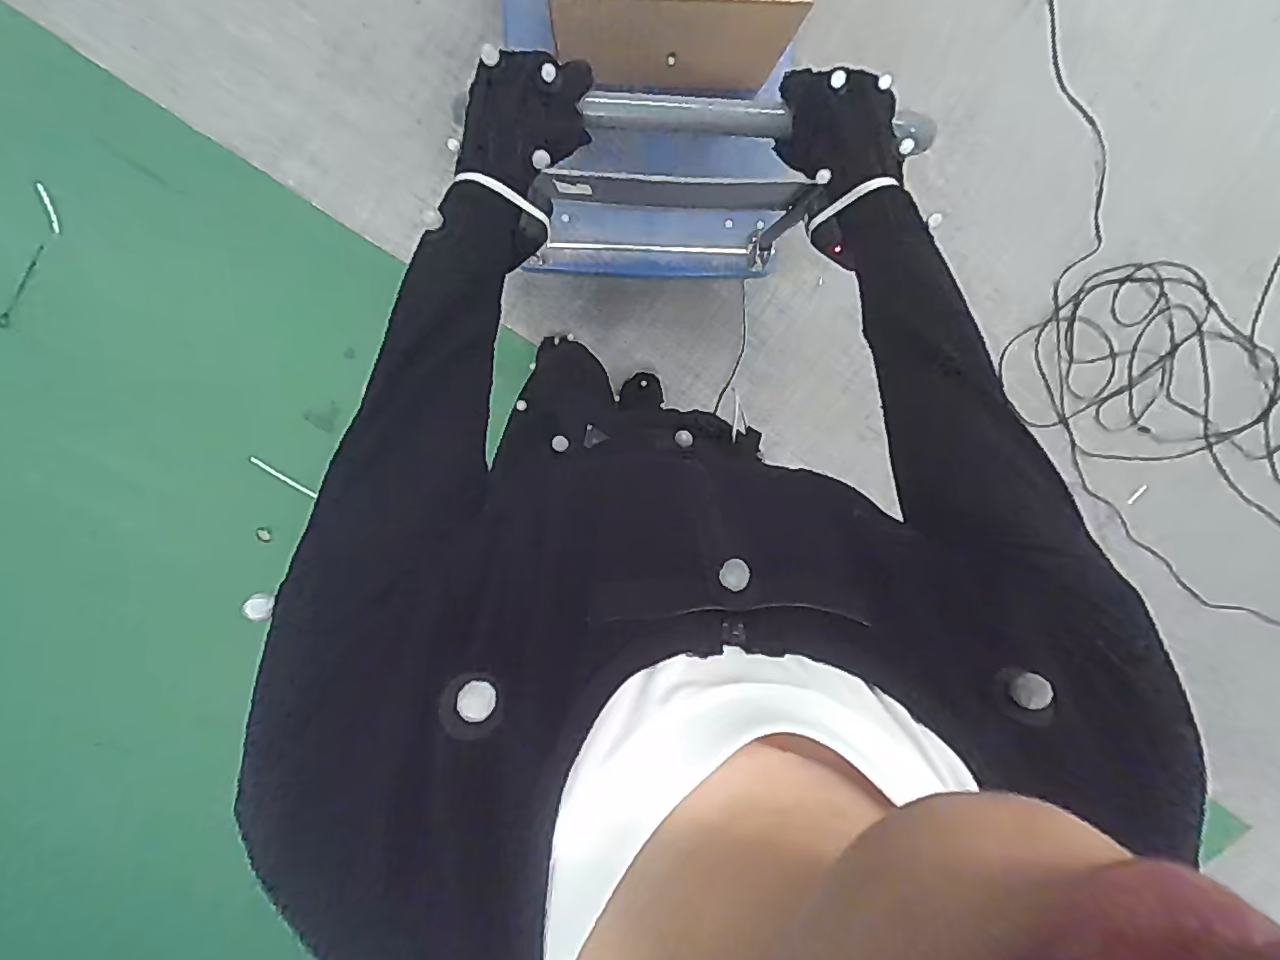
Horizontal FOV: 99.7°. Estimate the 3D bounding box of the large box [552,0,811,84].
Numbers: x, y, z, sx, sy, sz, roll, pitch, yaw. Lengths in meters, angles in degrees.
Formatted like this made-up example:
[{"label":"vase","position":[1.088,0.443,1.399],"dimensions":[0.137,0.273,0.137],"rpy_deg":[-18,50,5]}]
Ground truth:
[{"label":"large box","position":[0.056,-0.910,0.915],"dimensions":[0.408,0.320,0.320],"rpy_deg":[-1,105,-3]}]
